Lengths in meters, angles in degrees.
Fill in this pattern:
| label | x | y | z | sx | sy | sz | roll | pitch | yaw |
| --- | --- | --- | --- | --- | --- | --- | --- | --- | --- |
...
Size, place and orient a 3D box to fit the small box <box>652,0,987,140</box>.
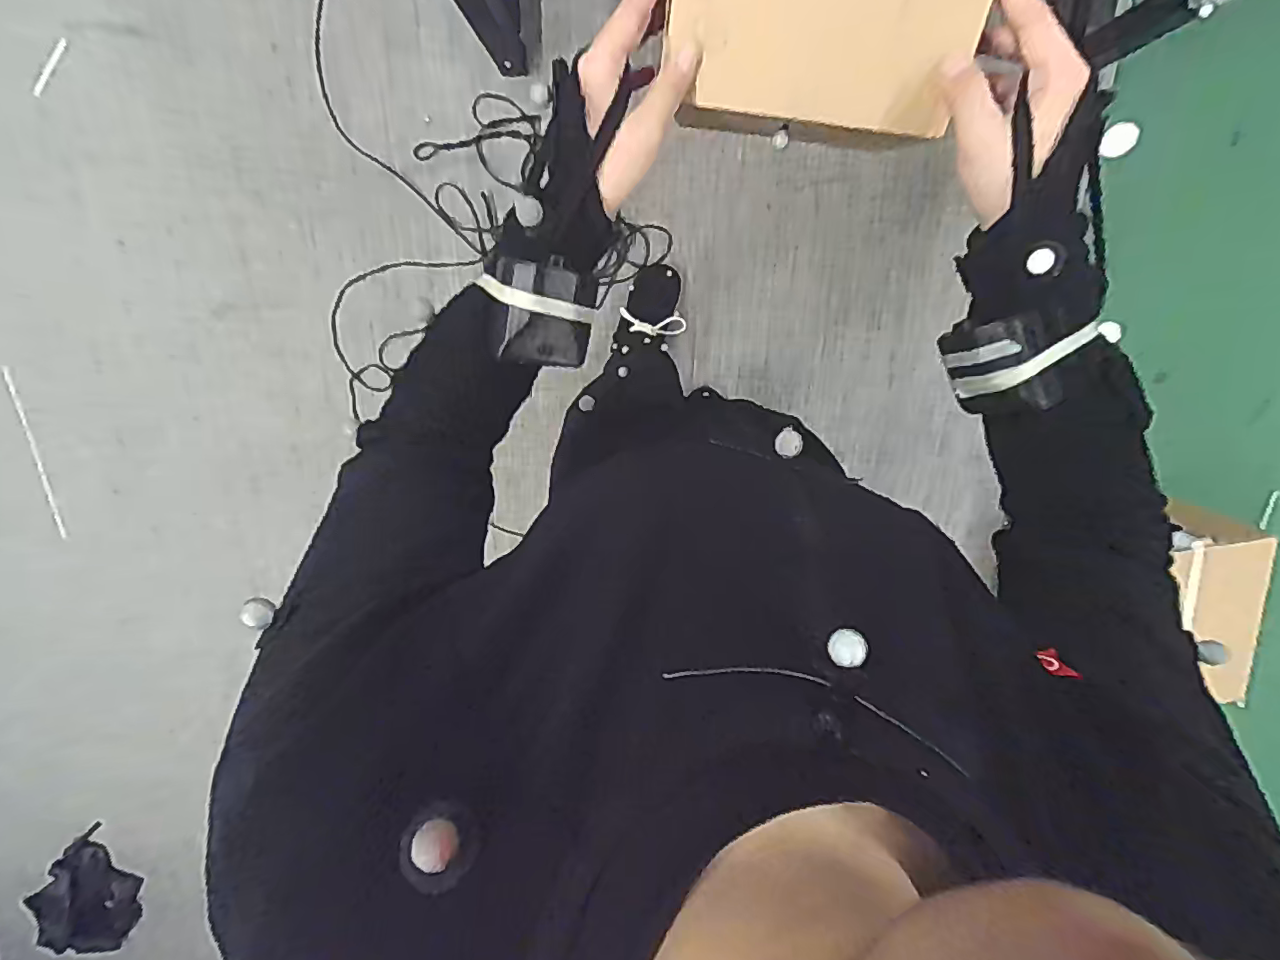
| label | x | y | z | sx | sy | sz | roll | pitch | yaw |
| --- | --- | --- | --- | --- | --- | --- | --- | --- | --- |
| small box | 0.111 | -0.327 | 0.346 | 0.179 | 0.176 | 0.168 | 9 | 120 | 3 |
